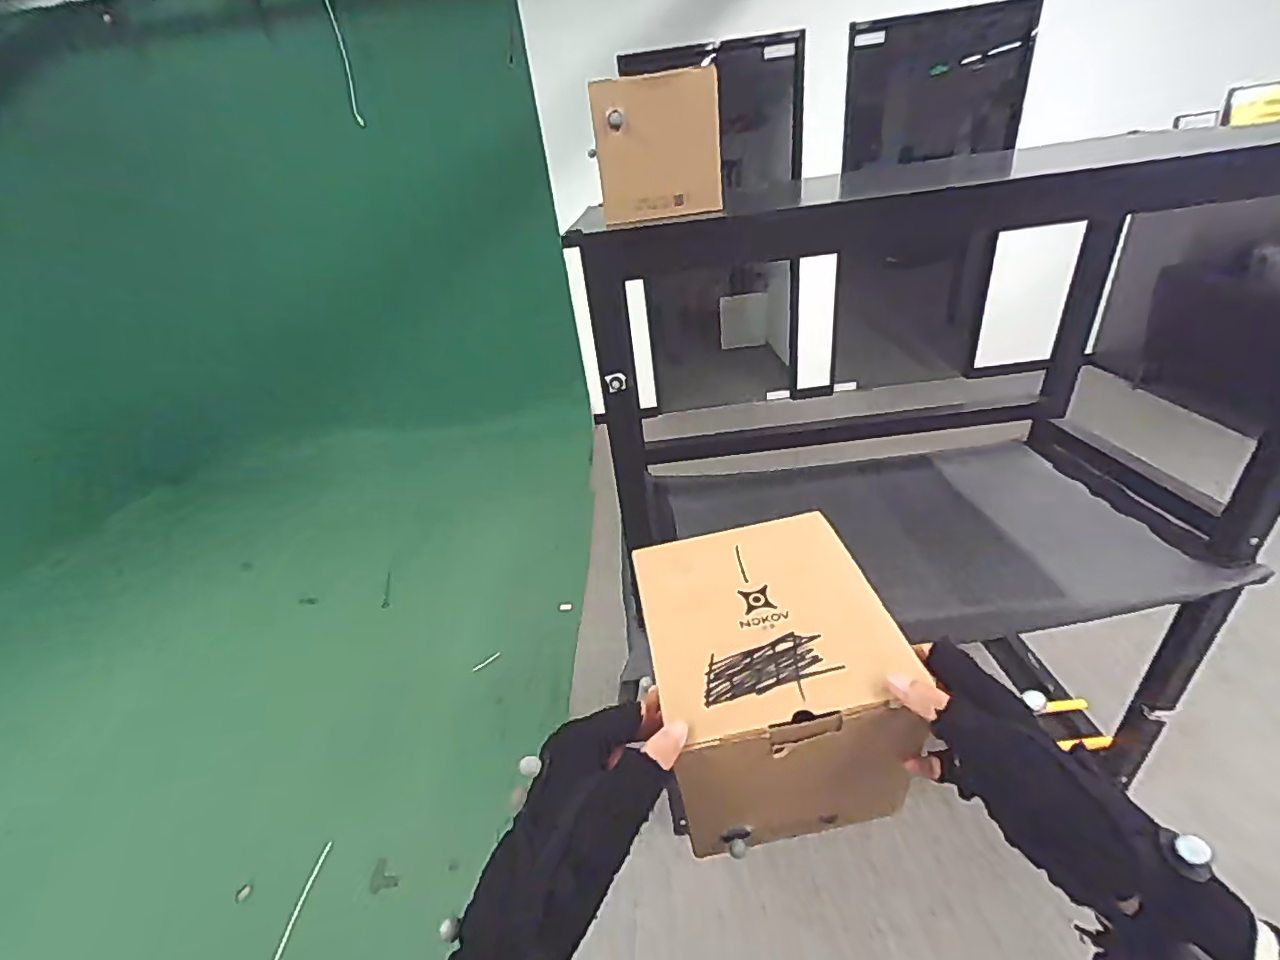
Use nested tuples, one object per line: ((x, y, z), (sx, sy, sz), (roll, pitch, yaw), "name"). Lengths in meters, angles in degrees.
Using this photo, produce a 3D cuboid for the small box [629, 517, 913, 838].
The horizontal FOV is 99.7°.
((0.093, 0.162, 0.442), (0.168, 0.176, 0.179), (-12, 35, -1), "small box")
